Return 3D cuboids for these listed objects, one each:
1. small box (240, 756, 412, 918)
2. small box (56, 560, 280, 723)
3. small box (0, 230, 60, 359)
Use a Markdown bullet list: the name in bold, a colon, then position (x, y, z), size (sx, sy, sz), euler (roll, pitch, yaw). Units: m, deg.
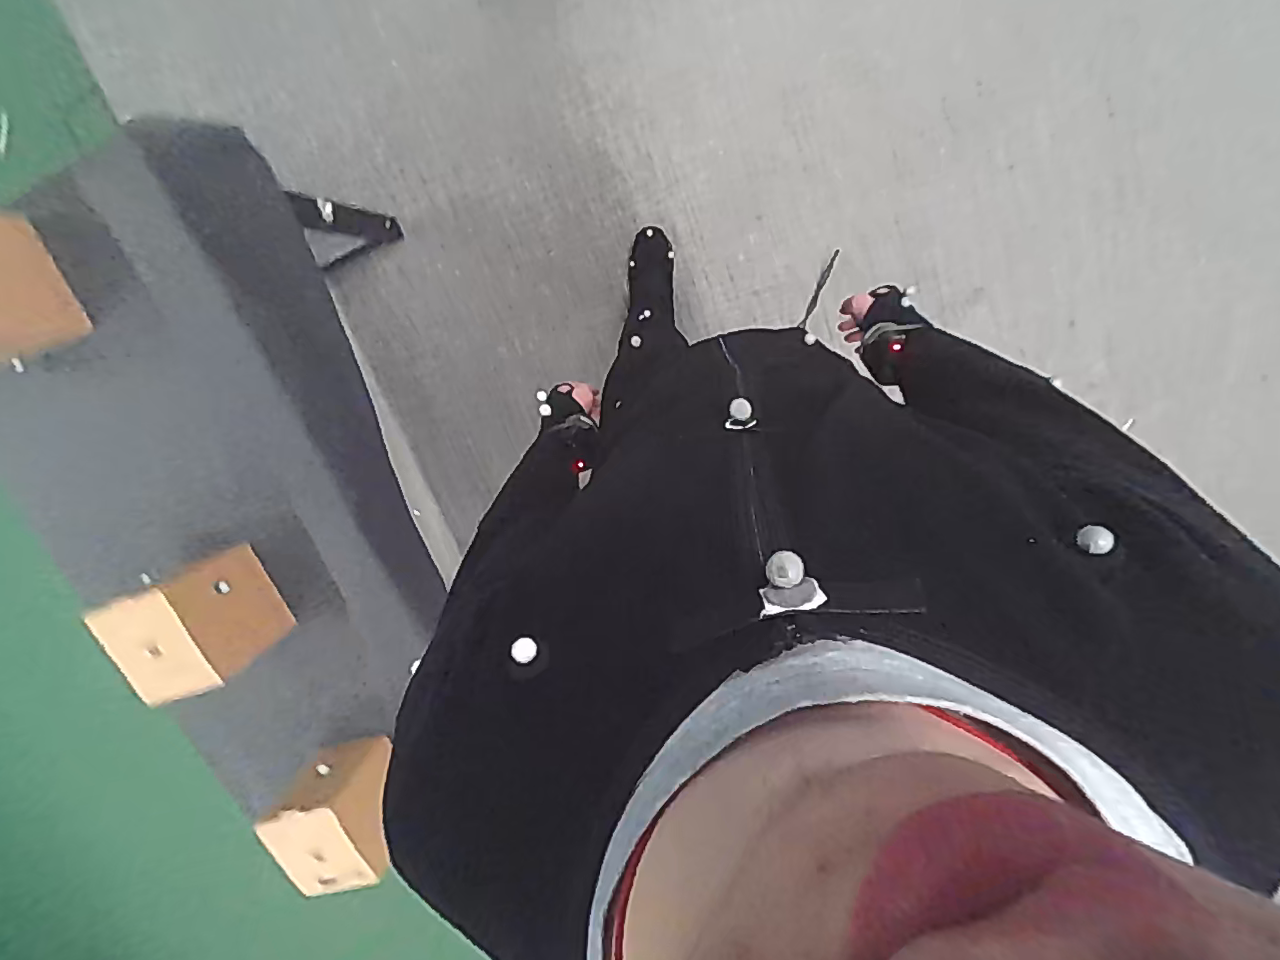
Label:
- **small box**: position (-0.552, 0.630, 0.976), size (0.168, 0.176, 0.179), euler (-19, 104, 11)
- **small box**: position (-0.741, 0.247, 0.871), size (0.168, 0.176, 0.179), euler (-19, 107, 11)
- **small box**: position (-0.967, -0.250, 0.726), size (0.168, 0.176, 0.179), euler (-18, 105, 9)
